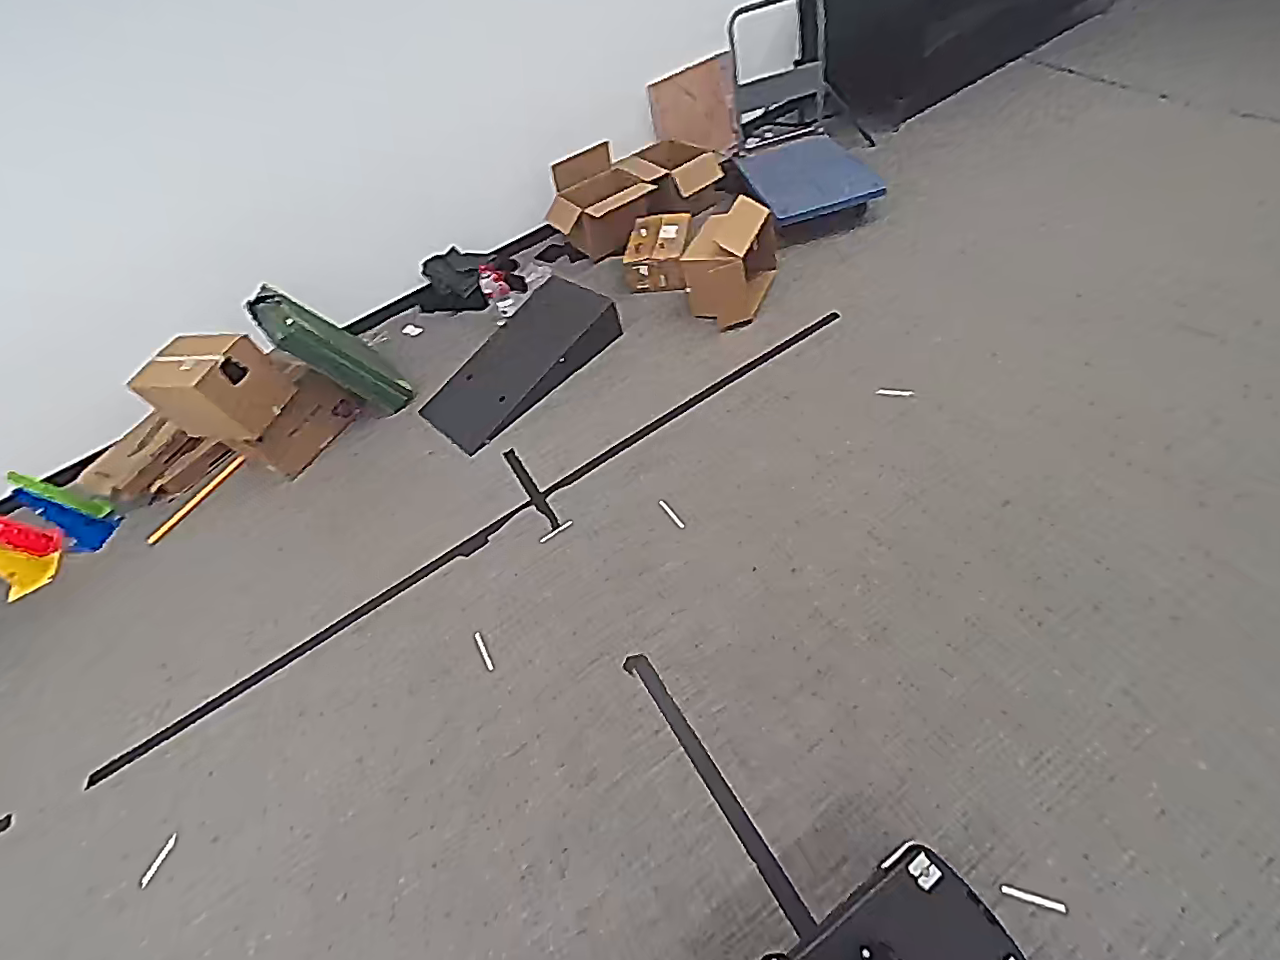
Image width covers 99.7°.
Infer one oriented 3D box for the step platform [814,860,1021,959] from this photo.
[{"bbox_3d":[0.426,1.083,1.038,0.684,0.204,0.286,-33,52,-13],"label":"step platform"}]
